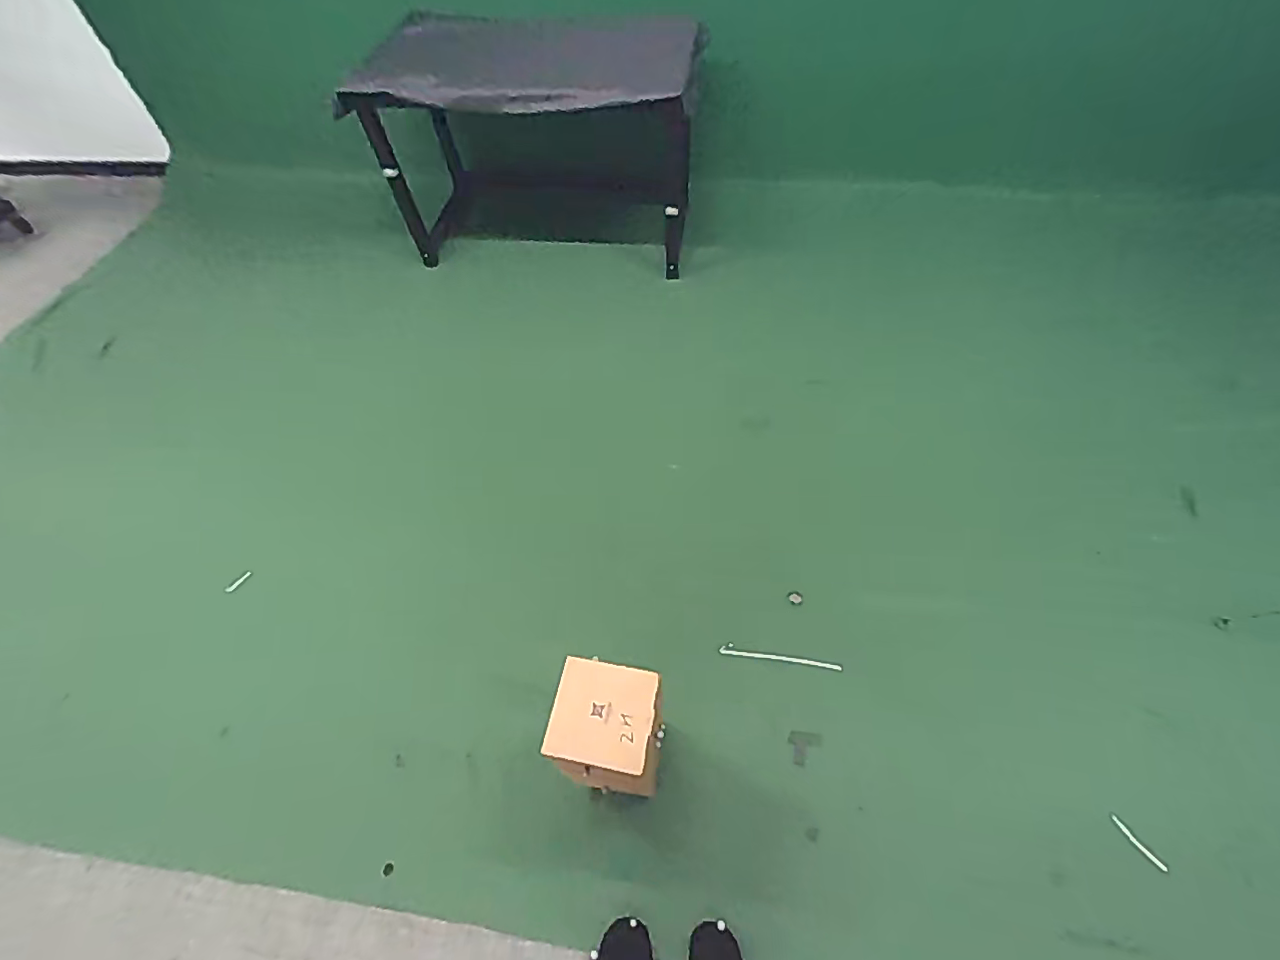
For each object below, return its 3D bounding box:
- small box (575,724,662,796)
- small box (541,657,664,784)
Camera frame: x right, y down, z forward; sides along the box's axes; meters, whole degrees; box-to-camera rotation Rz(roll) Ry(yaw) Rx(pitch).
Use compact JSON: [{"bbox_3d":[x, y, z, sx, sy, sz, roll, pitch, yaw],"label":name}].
[{"bbox_3d":[-0.041,0.621,1.257,0.168,0.176,0.179,6,56,8],"label":"small box"},{"bbox_3d":[-0.058,0.440,0.982,0.179,0.176,0.168,8,57,10],"label":"small box"}]
